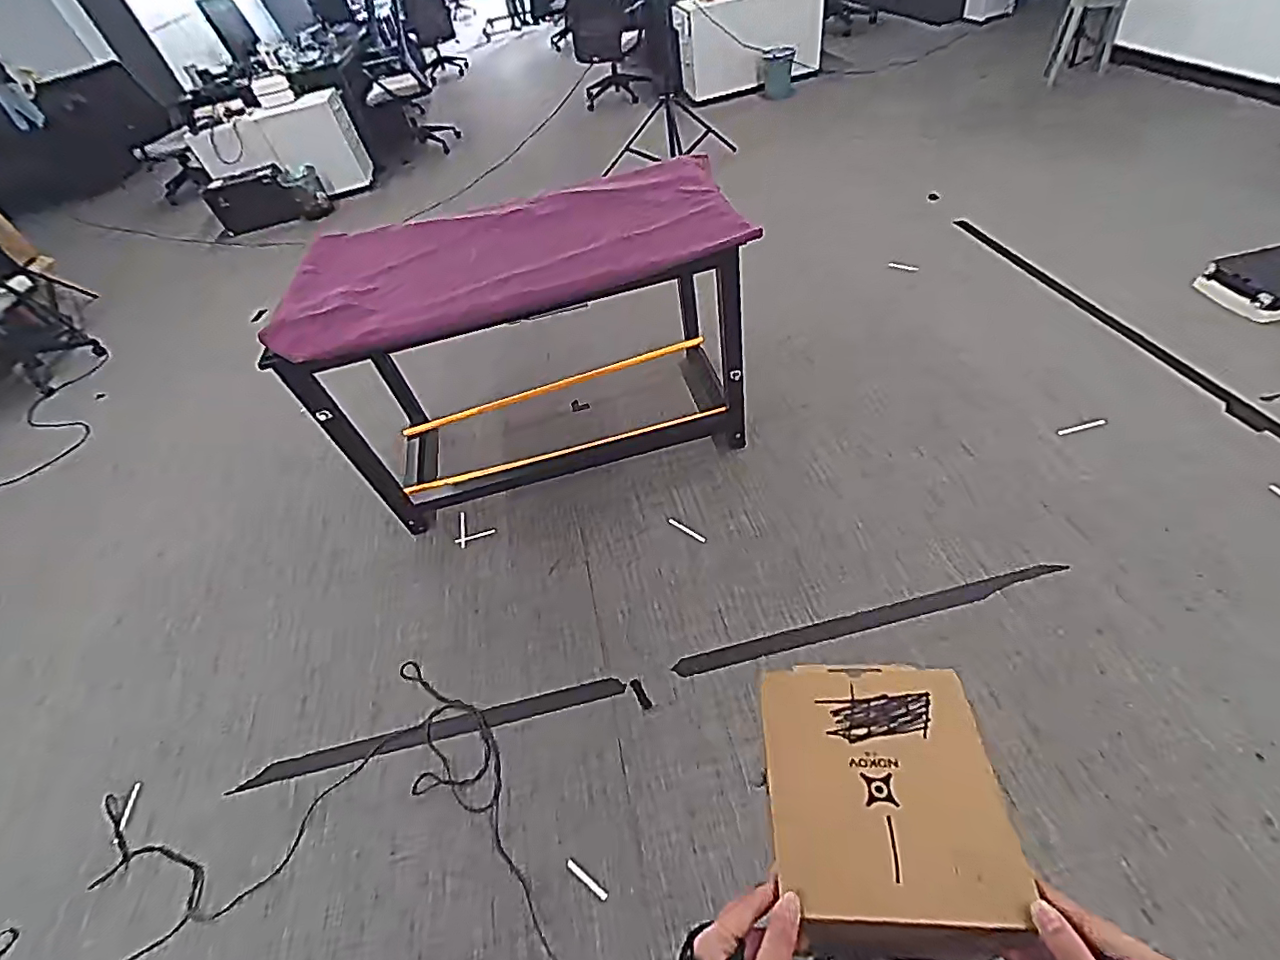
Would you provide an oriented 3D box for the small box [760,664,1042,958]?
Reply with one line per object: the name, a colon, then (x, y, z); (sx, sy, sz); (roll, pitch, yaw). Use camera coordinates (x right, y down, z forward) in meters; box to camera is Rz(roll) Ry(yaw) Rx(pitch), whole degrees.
small box: (0.193, 0.281, 0.467); (0.168, 0.176, 0.179); (-5, 43, 10)
